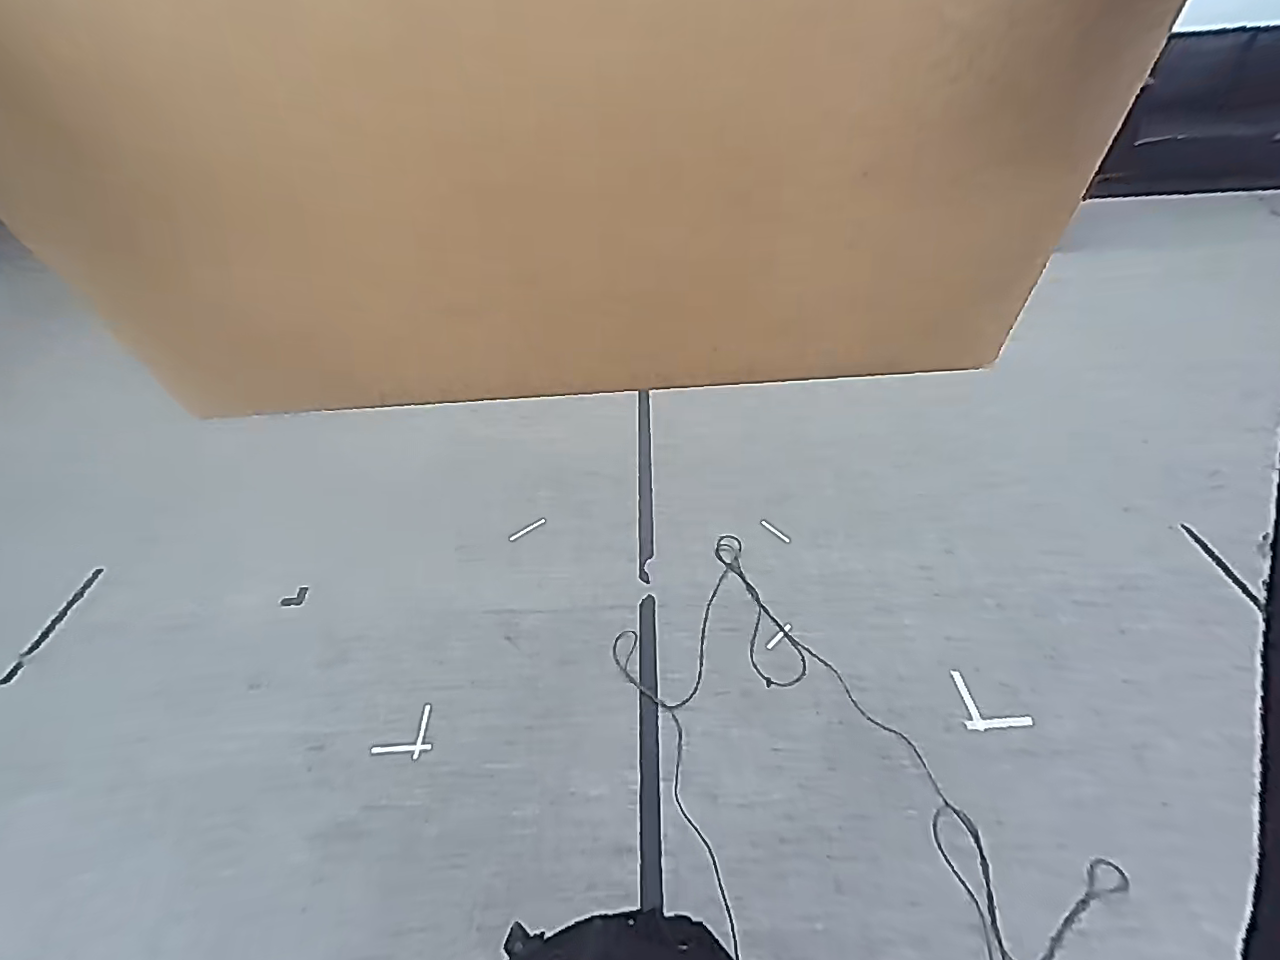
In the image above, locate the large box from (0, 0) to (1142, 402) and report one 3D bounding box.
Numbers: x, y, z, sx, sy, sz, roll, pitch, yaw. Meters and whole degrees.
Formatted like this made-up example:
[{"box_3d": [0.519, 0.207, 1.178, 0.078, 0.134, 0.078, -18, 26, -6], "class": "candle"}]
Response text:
[{"box_3d": [-0.039, -0.261, 0.267, 0.408, 0.320, 0.320, -3, 50, 1], "class": "large box"}]
